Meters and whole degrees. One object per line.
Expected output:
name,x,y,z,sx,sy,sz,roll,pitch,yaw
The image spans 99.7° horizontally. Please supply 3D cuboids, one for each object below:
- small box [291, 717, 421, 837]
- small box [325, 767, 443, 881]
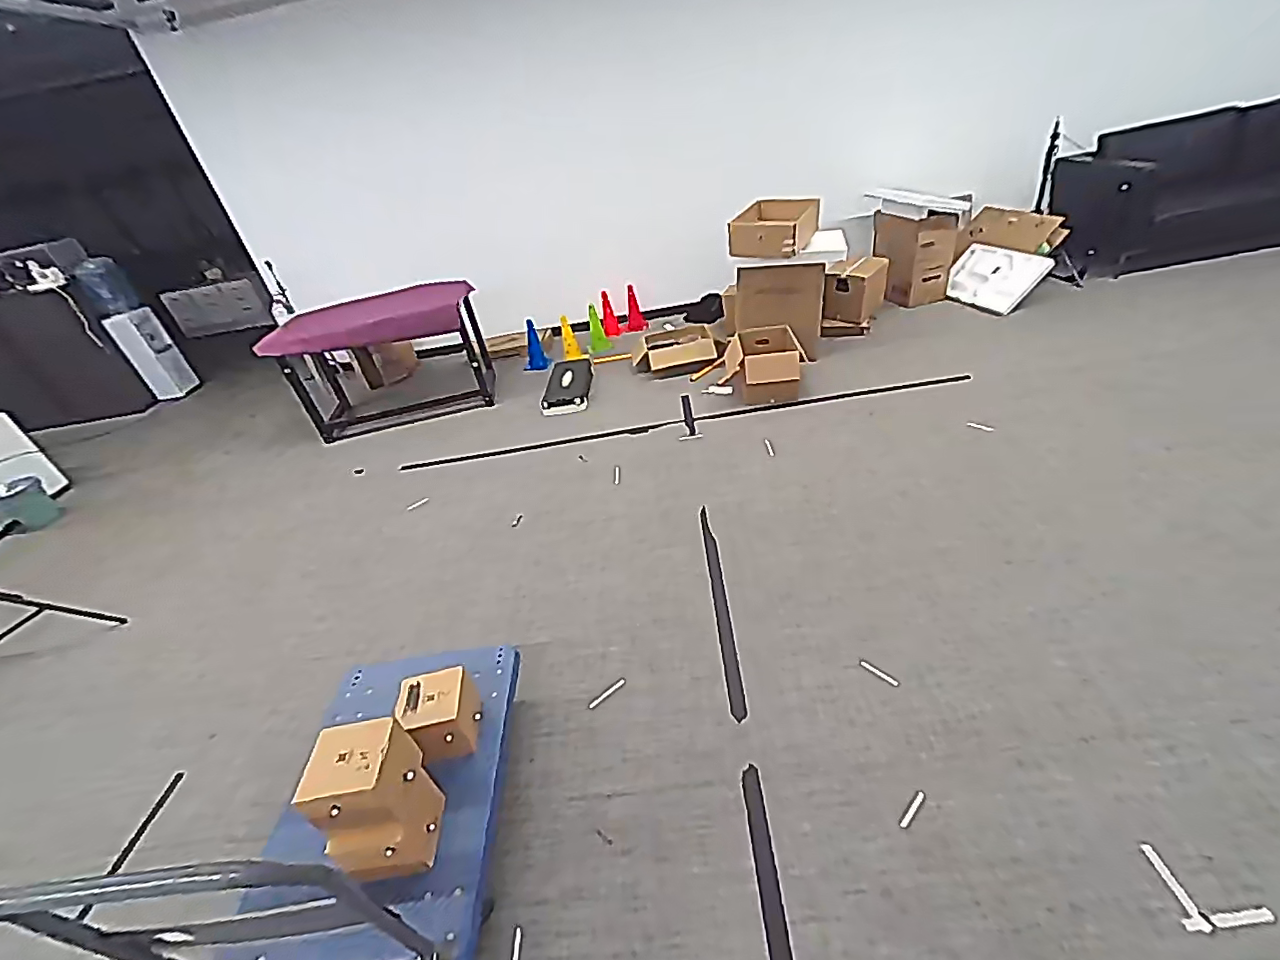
small box,-0.619,0.662,1.204,0.179,0.176,0.168,-10,34,0
small box,-0.592,0.811,1.274,0.179,0.176,0.168,-11,34,0
